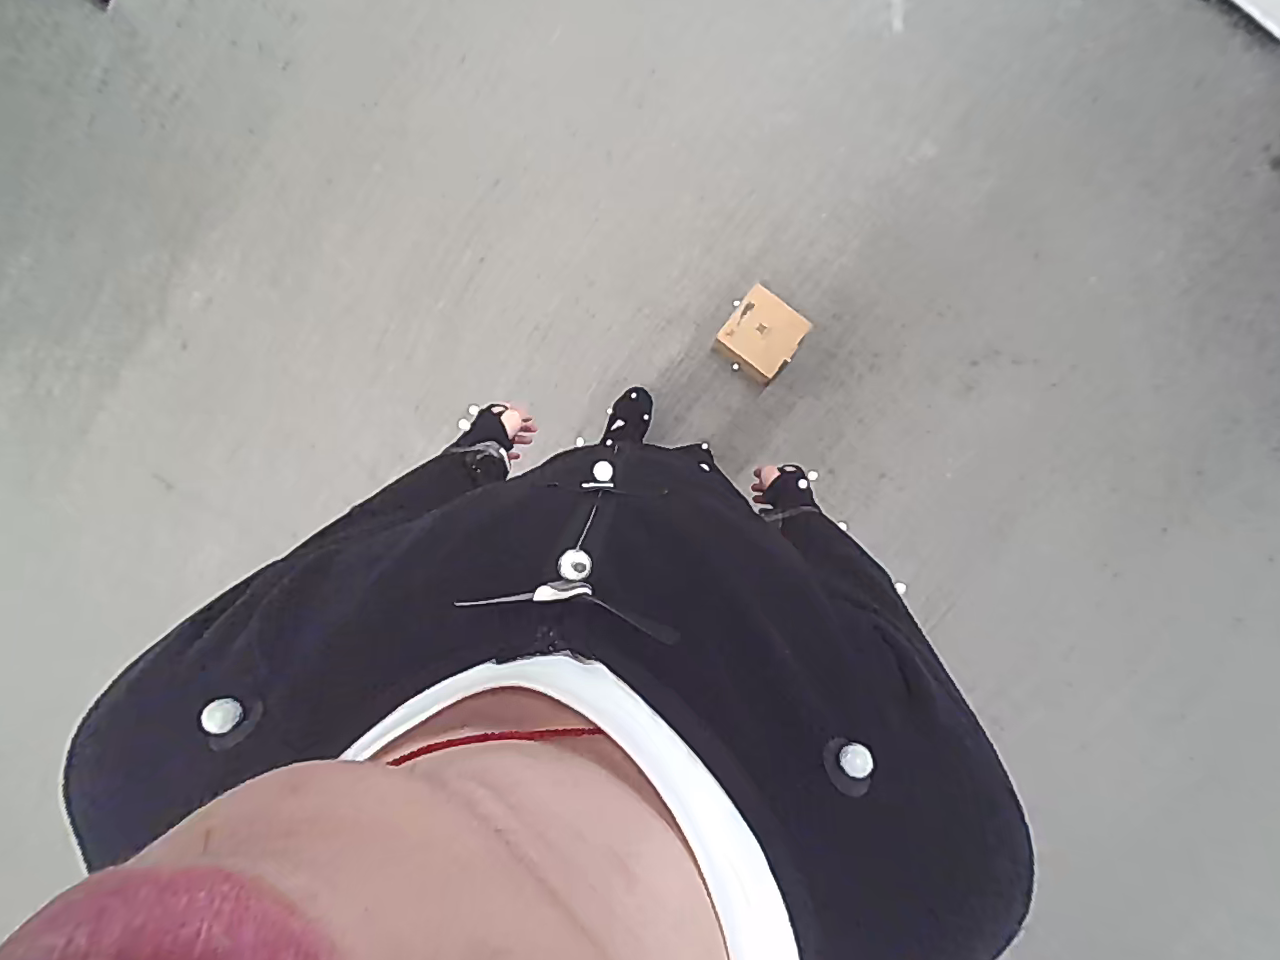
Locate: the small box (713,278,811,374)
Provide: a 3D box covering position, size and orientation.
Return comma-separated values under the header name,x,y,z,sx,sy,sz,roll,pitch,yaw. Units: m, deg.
name,x,y,z,sx,sy,sz,roll,pitch,yaw
small box,0.310,-0.393,1.410,0.179,0.176,0.168,38,98,-2
